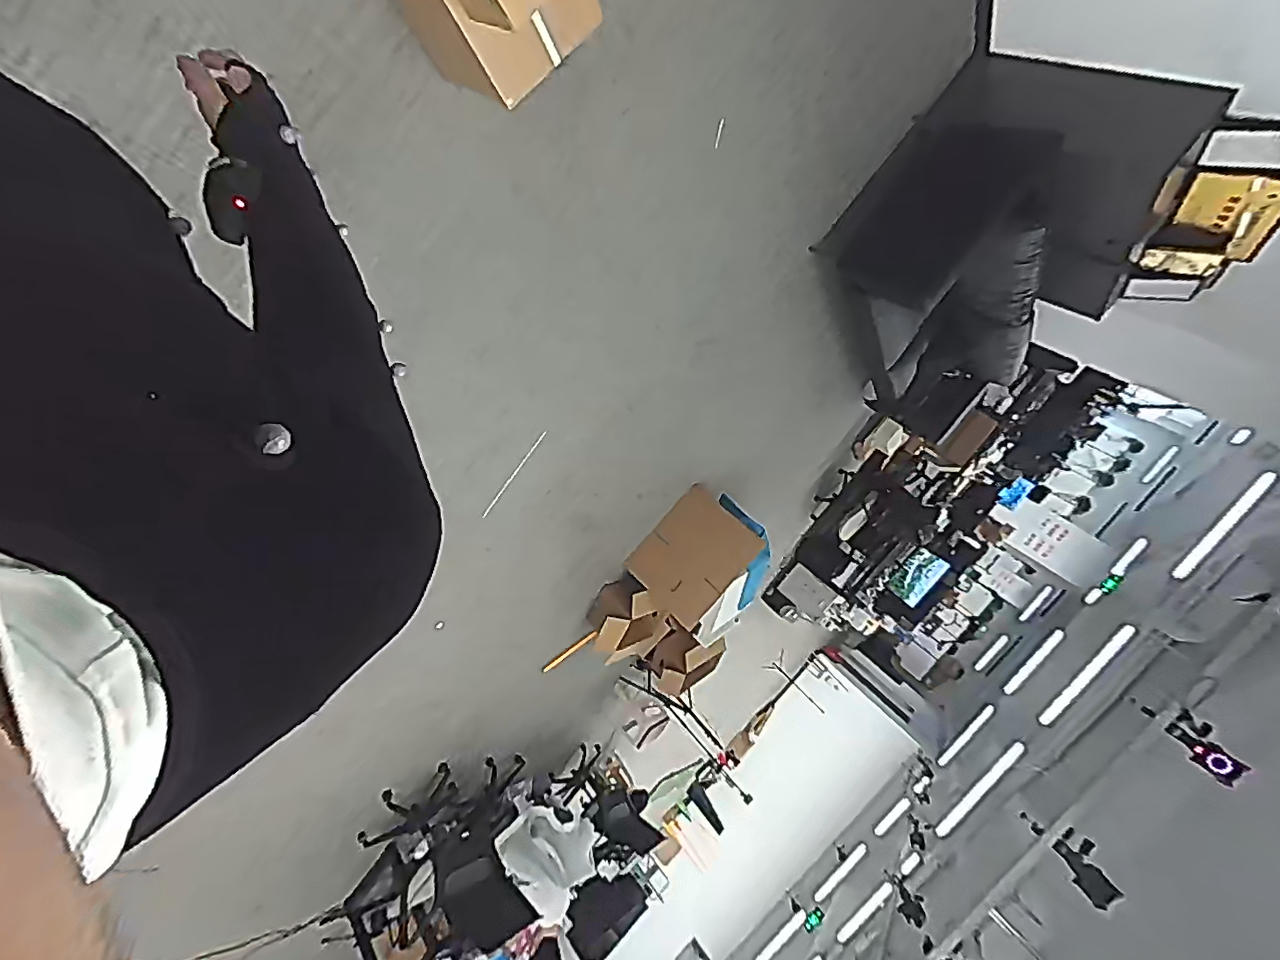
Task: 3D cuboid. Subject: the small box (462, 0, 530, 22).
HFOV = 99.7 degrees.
[{"bbox_3d":[-0.262,-0.960,0.946,0.179,0.176,0.168,-47,150,1],"label":"small box"}]
